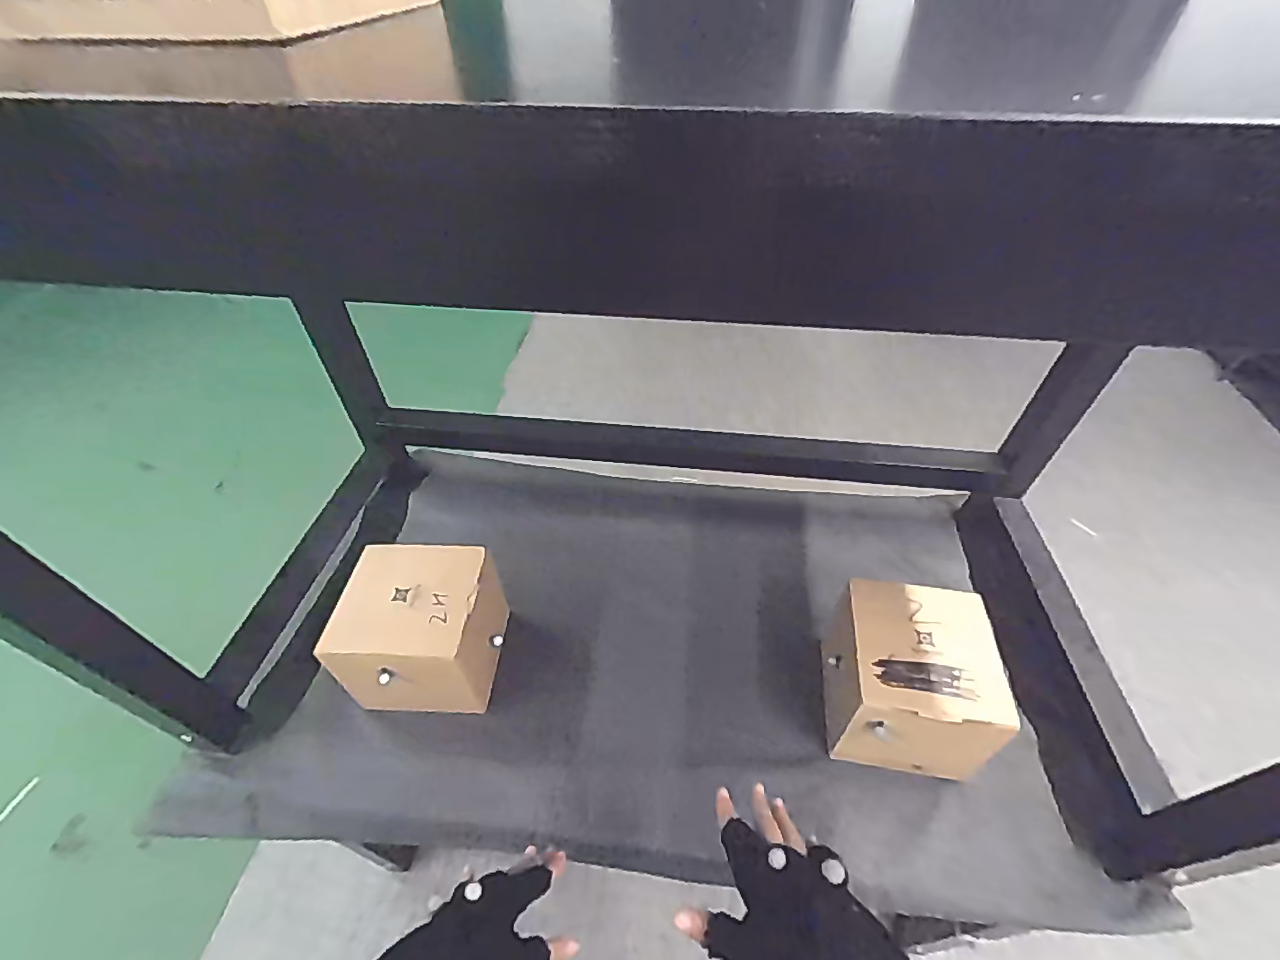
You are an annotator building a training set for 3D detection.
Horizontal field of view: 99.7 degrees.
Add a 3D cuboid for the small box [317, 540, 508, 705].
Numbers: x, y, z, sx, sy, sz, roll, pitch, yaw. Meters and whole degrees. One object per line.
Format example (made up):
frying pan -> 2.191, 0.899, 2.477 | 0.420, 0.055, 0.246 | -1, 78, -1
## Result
small box -> -0.301, 0.203, 0.761 | 0.179, 0.176, 0.168 | 2, 46, 2
